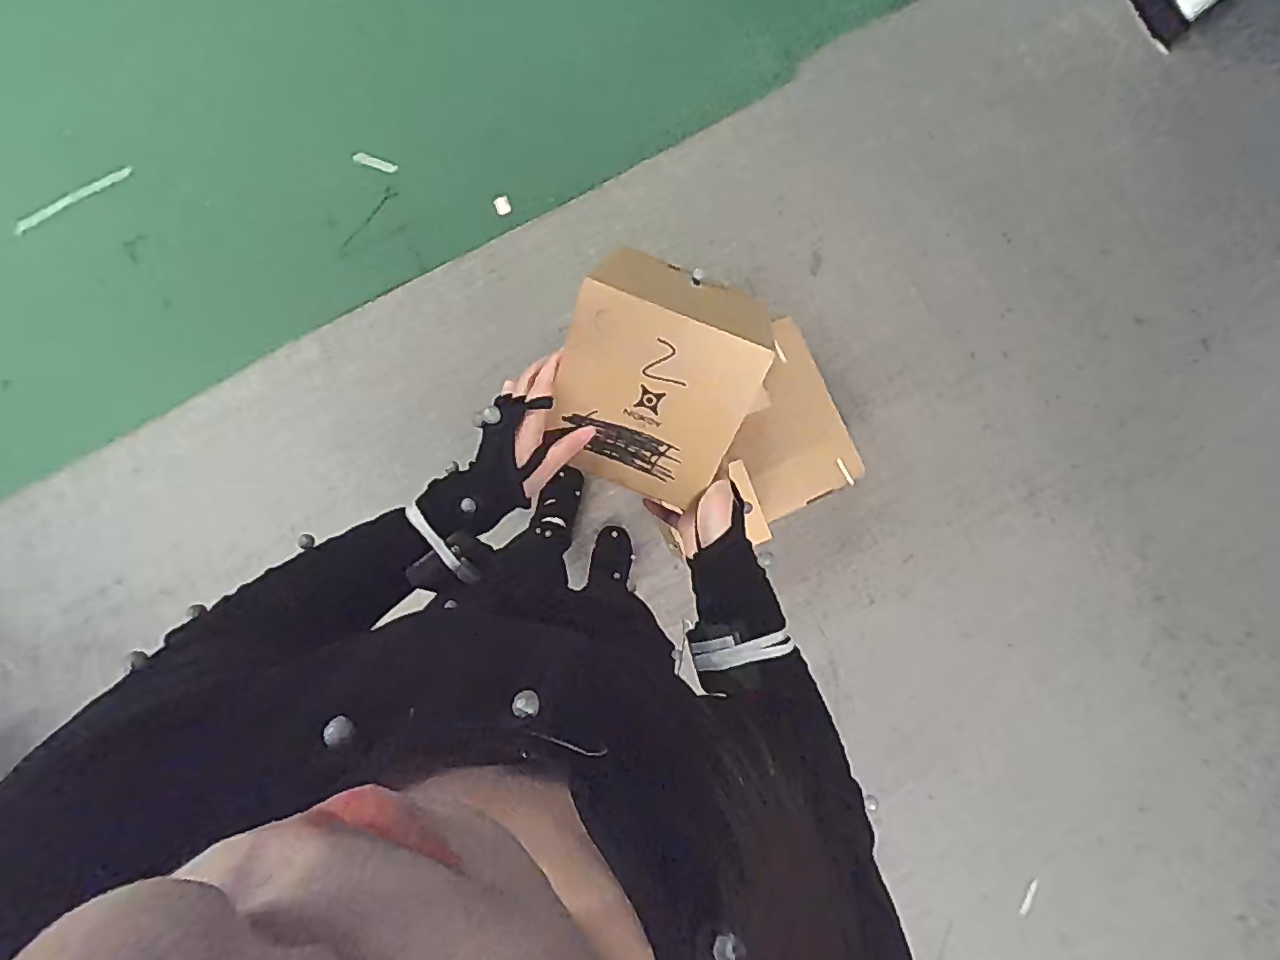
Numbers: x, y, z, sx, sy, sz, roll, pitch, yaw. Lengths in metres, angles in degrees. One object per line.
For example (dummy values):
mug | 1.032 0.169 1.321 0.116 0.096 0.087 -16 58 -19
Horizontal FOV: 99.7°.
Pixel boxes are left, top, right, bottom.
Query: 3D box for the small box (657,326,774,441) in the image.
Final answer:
small box | 0.146 -0.190 1.108 0.179 0.176 0.168 -21 89 -2

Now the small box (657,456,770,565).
small box | 0.140 0.059 1.104 0.179 0.176 0.168 -20 91 -2
